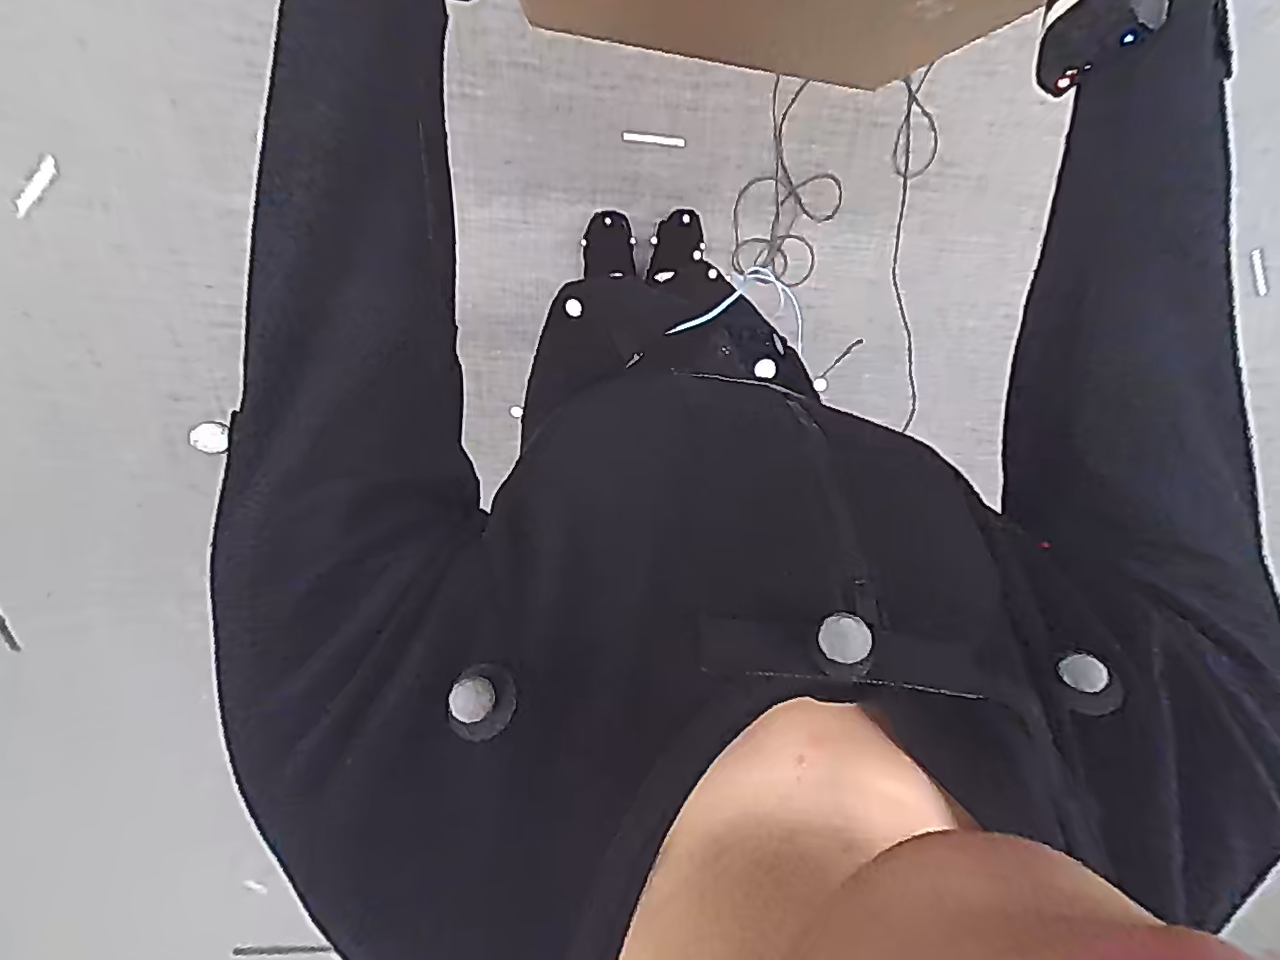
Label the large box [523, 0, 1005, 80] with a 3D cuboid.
[{"bbox_3d":[0.099,-0.557,0.418,0.408,0.320,0.320,6,116,-7],"label":"large box"}]
